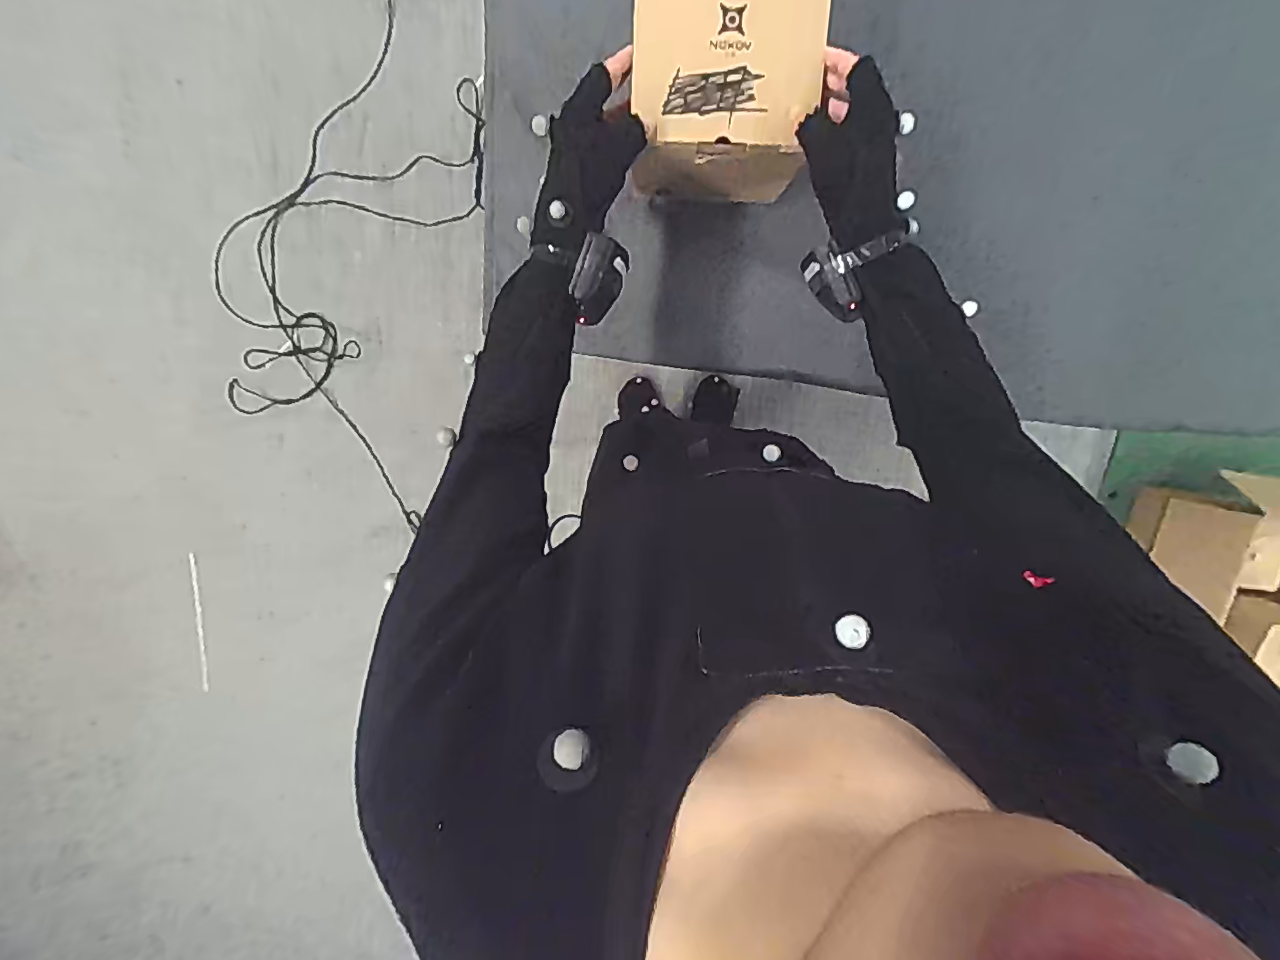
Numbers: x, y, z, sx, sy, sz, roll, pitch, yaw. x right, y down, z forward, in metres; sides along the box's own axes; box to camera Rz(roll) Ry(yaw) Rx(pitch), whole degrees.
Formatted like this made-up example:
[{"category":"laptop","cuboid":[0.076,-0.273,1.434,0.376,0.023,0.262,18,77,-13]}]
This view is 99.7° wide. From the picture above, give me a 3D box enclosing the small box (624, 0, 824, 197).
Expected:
[{"category":"small box","cuboid":[0.074,-0.397,0.536,0.168,0.176,0.179,3,102,0]}]
